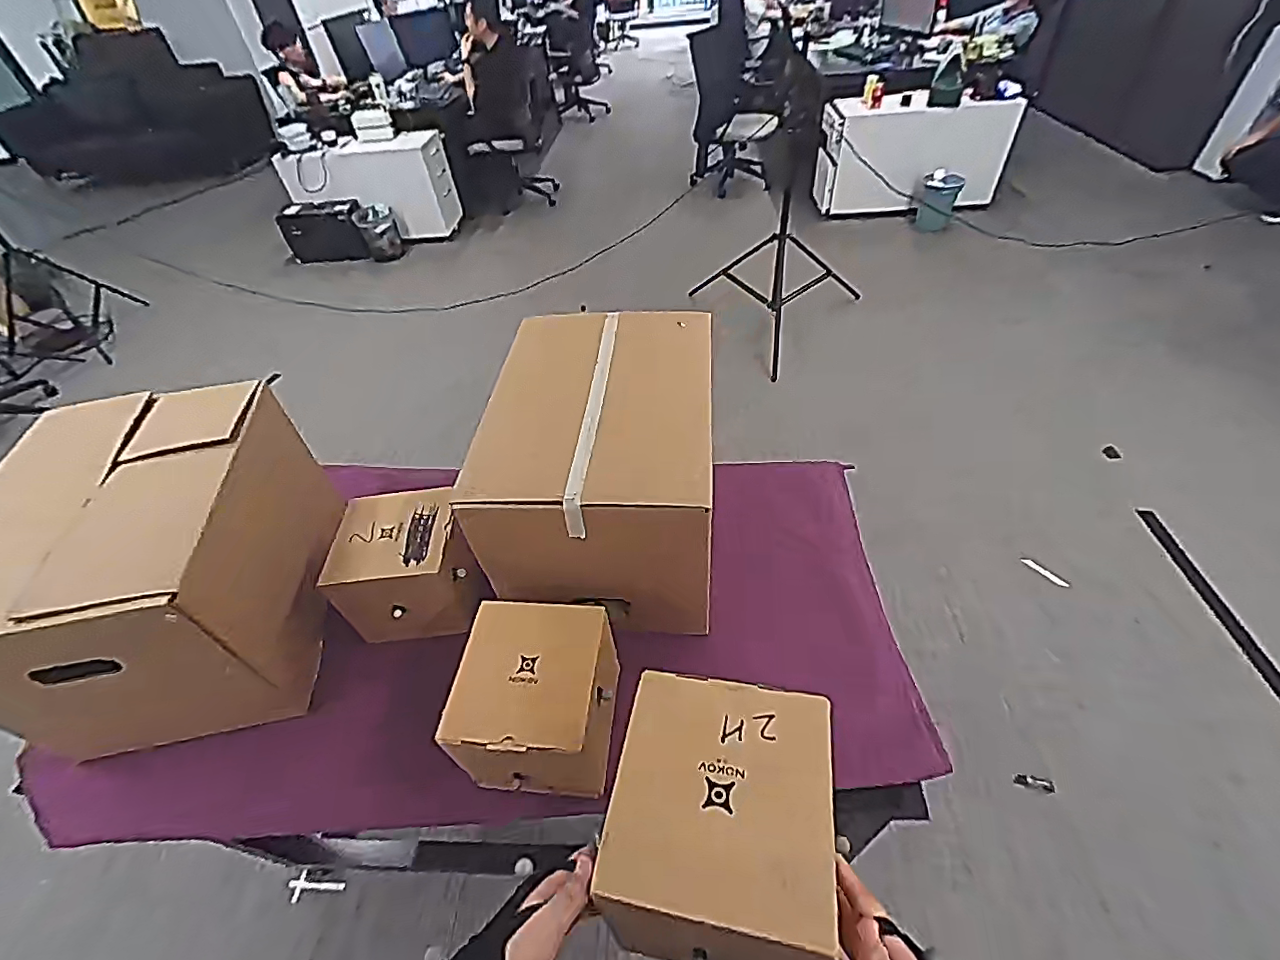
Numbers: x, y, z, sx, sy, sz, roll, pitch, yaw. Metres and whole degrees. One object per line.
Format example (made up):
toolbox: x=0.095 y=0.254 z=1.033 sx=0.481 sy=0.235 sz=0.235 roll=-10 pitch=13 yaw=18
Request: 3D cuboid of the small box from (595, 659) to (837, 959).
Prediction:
small box: x=0.074 y=0.287 z=0.468 sx=0.168 sy=0.176 sz=0.179 roll=4 pitch=40 yaw=14
